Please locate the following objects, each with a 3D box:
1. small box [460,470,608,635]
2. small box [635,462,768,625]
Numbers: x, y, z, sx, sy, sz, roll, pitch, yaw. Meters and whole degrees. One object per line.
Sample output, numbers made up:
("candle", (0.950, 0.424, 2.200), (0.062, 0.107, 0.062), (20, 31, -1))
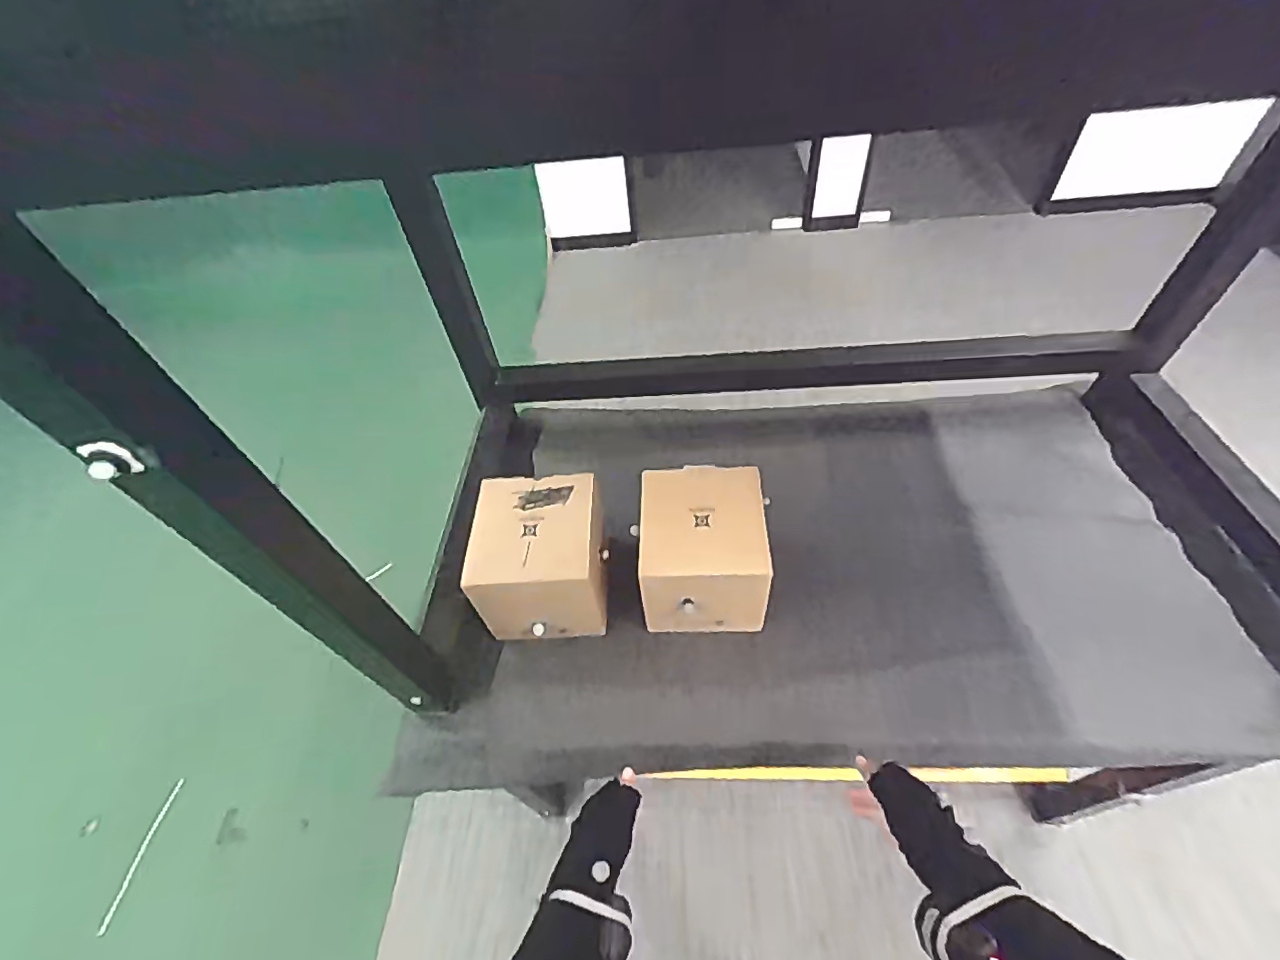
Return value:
("small box", (-0.140, 0.107, 0.787), (0.168, 0.176, 0.179), (-4, 50, 4))
("small box", (0.086, 0.096, 0.773), (0.168, 0.176, 0.179), (-2, 49, 5))
